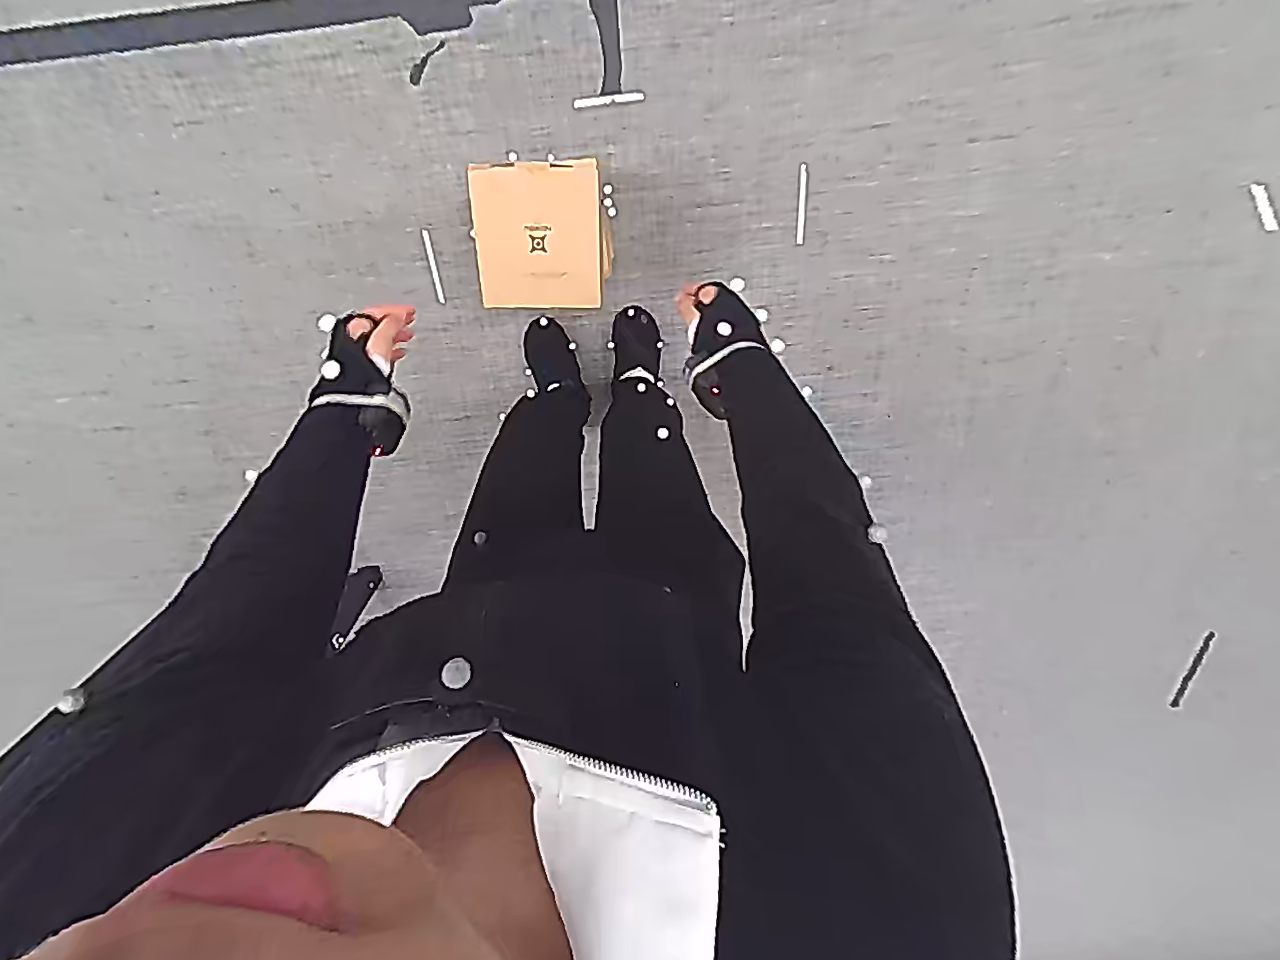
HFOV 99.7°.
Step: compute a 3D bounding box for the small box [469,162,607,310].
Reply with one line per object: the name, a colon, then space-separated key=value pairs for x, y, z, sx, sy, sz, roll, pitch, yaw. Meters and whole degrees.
small box: x=-0.134 y=-0.350 z=0.773 sx=0.168 sy=0.176 sz=0.179 roll=0 pitch=120 yaw=-1
